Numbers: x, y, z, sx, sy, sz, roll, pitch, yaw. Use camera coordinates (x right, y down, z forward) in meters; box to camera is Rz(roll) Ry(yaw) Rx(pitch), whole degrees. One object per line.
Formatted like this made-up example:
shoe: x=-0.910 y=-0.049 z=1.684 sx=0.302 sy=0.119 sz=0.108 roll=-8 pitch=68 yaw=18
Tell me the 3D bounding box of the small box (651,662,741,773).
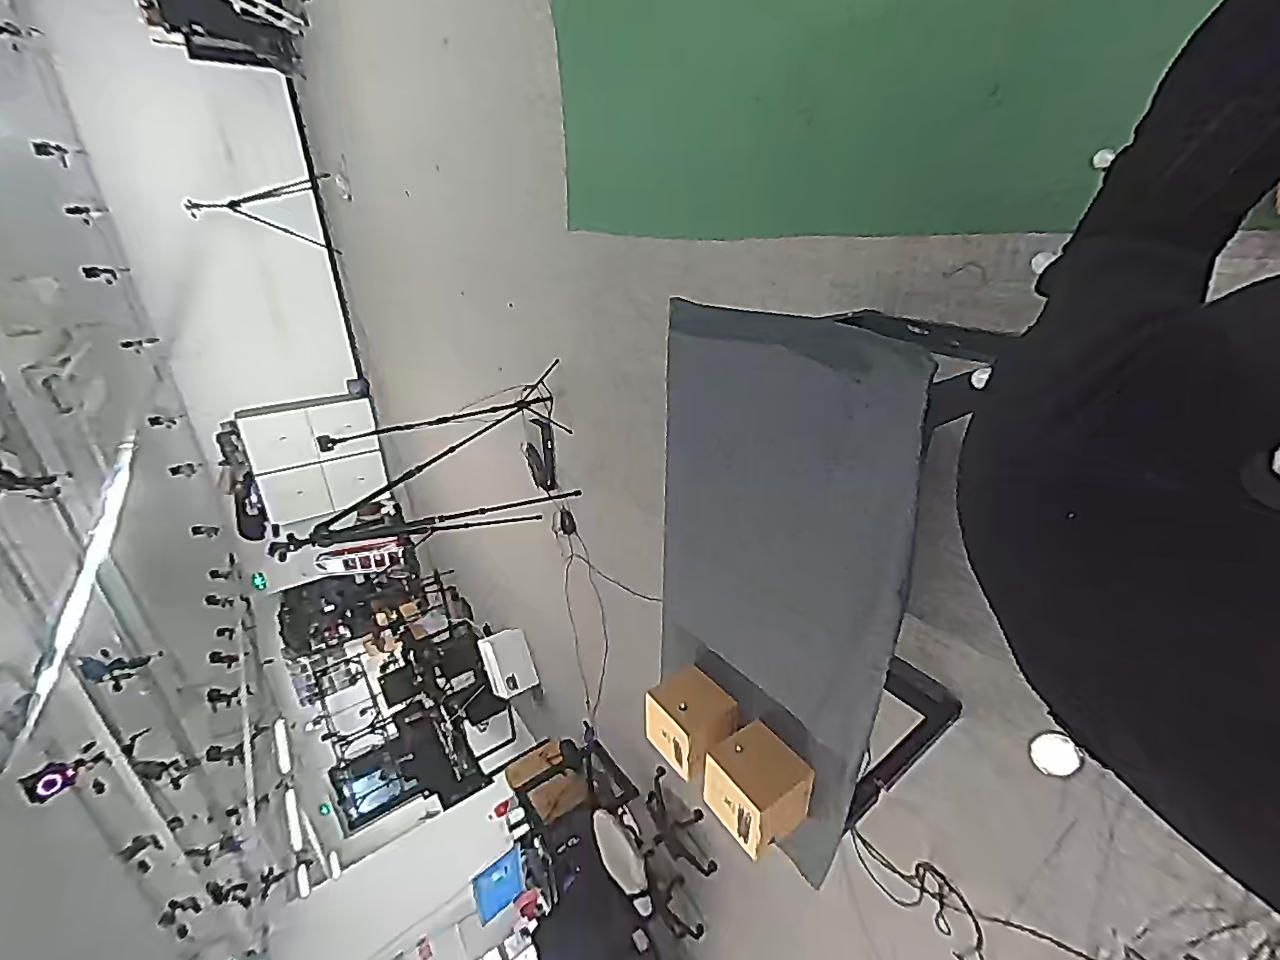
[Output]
small box: x=0.147 y=0.612 z=1.419 sx=0.179 sy=0.176 sz=0.168 roll=29 pitch=128 yaw=48
